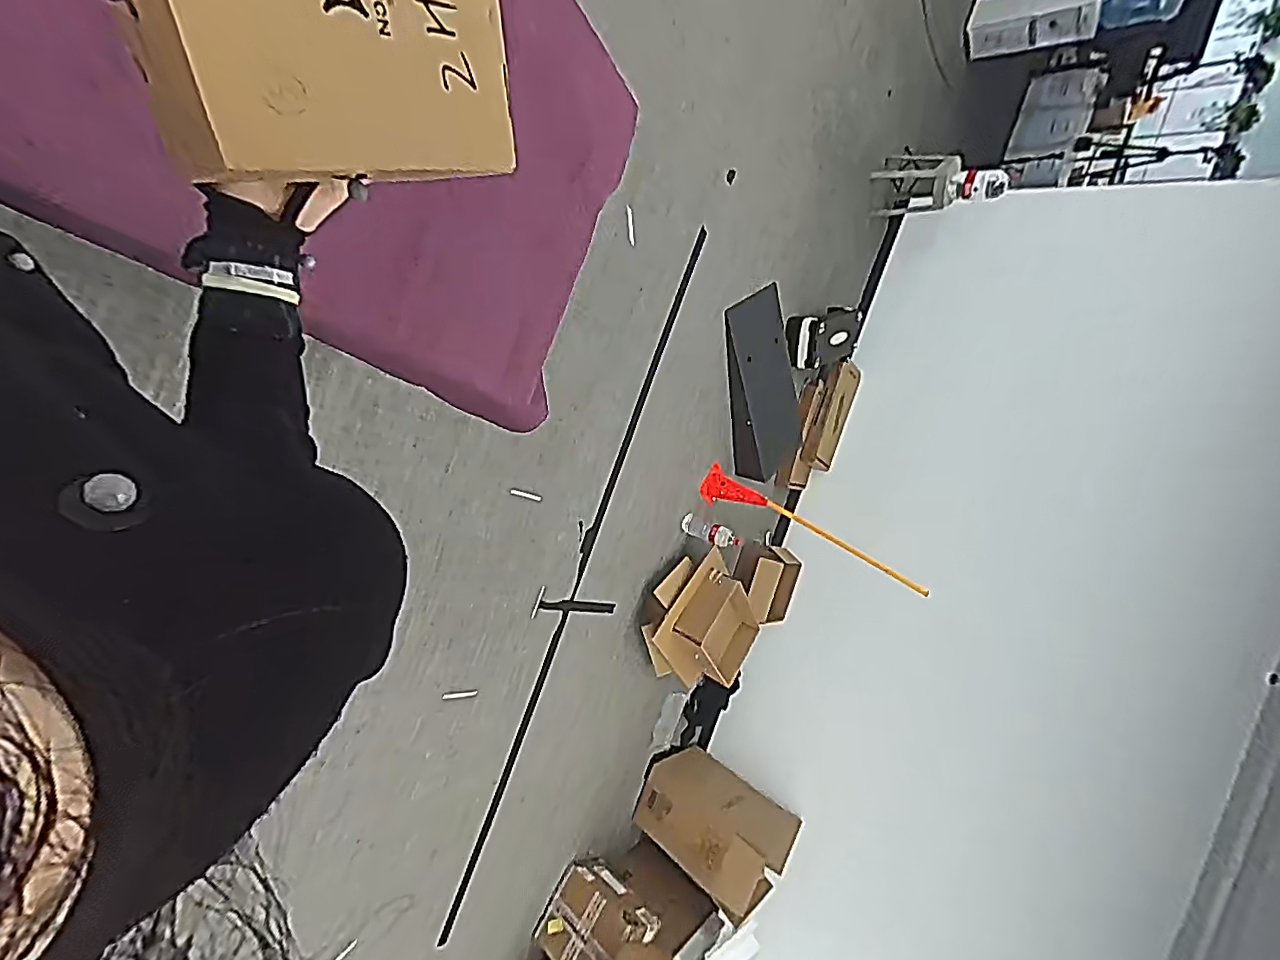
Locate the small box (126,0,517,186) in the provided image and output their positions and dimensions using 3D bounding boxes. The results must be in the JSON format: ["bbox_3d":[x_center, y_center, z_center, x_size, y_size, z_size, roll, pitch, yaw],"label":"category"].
[{"bbox_3d":[-0.207,-0.285,0.346,0.179,0.176,0.168,-26,127,-37],"label":"small box"}]
